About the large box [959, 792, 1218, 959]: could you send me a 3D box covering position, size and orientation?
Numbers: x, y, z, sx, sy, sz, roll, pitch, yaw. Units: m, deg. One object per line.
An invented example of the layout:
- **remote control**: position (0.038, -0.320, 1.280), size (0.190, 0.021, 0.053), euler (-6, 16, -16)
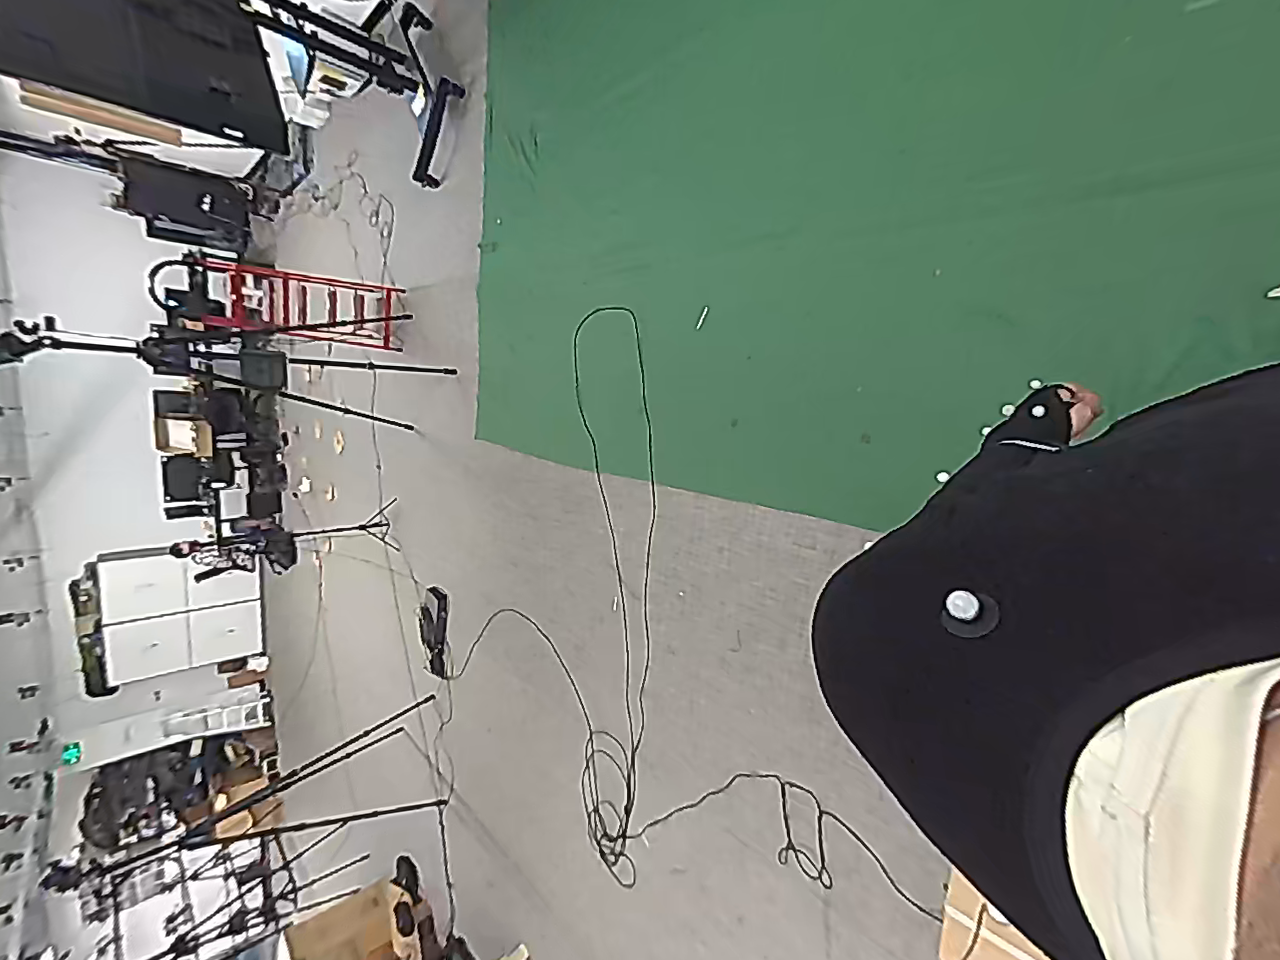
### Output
- **large box**: position (1.015, 1.019, 1.250), size (0.408, 0.320, 0.320), euler (10, 100, 44)
